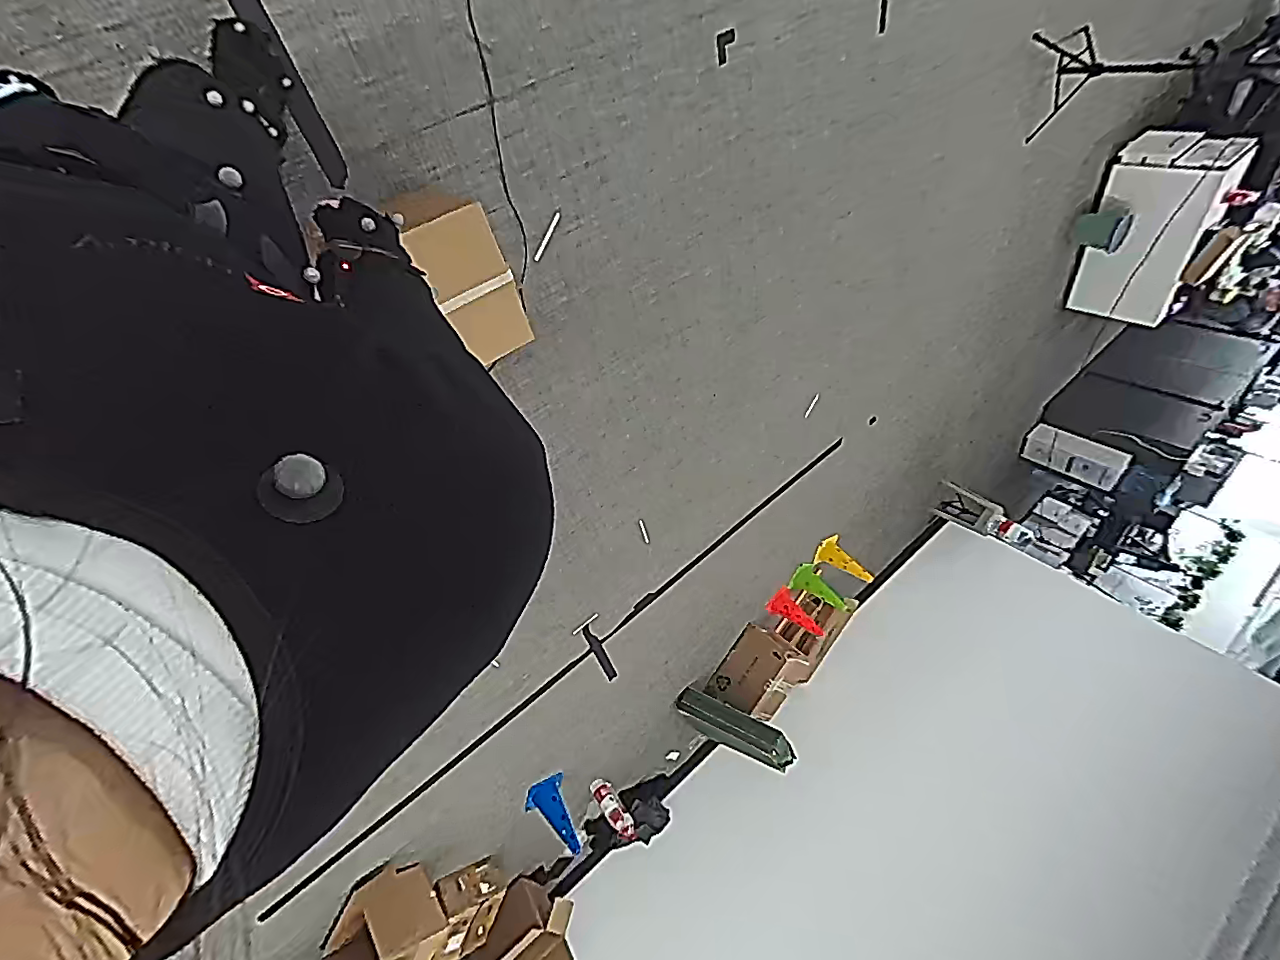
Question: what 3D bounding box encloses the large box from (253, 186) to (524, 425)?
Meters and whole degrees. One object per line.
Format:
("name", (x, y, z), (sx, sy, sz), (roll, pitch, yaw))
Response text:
("large box", (-0.537, -0.398, 1.188), (0.408, 0.320, 0.320), (-34, 135, -18))
